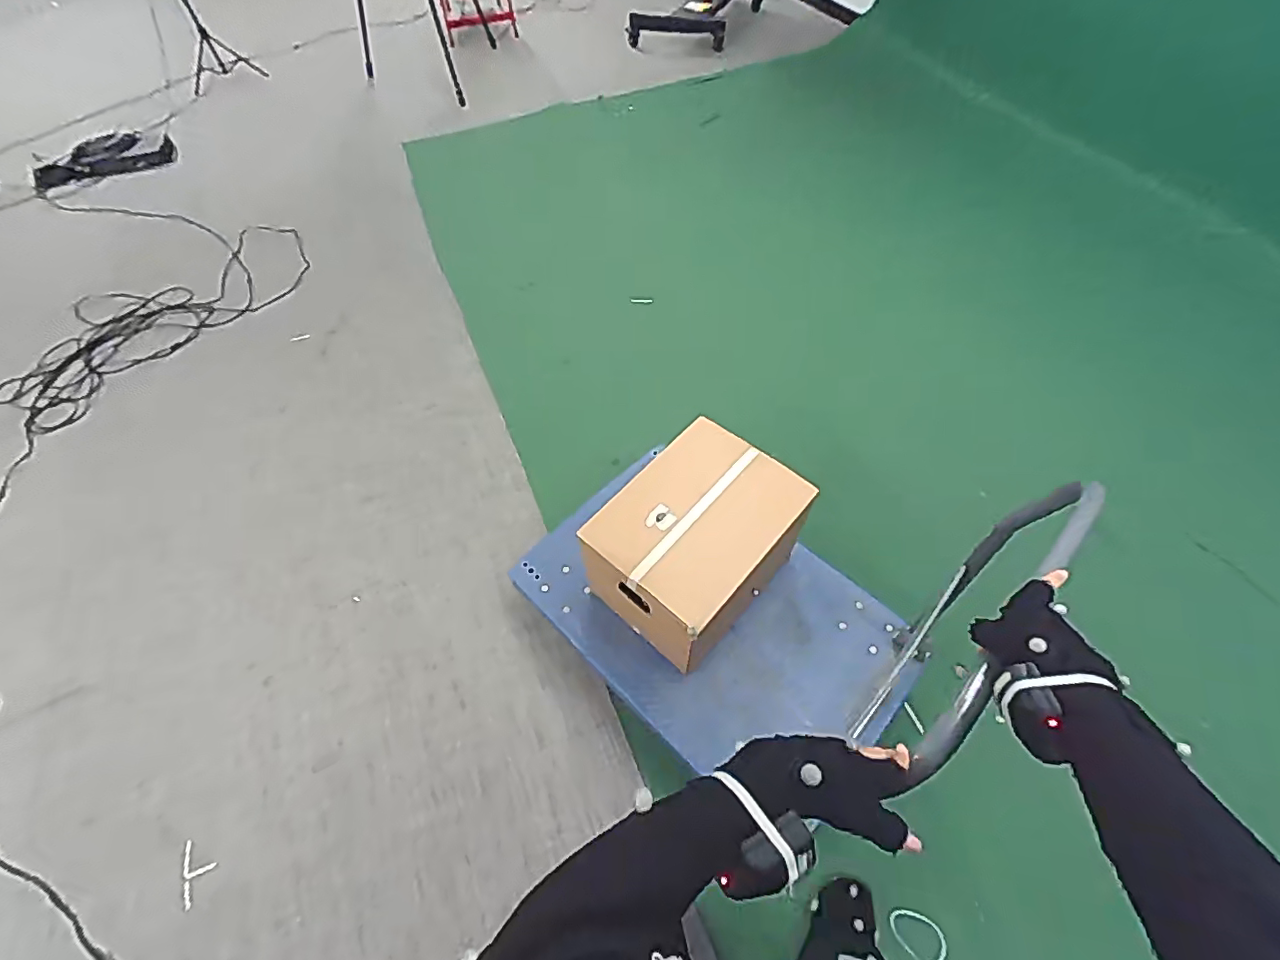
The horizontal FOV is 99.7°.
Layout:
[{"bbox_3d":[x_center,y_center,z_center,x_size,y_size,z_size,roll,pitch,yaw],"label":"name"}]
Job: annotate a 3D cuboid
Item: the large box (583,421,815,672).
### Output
[{"bbox_3d":[0.131,0.151,1.228,0.320,0.320,0.408,36,66,23],"label":"large box"}]
